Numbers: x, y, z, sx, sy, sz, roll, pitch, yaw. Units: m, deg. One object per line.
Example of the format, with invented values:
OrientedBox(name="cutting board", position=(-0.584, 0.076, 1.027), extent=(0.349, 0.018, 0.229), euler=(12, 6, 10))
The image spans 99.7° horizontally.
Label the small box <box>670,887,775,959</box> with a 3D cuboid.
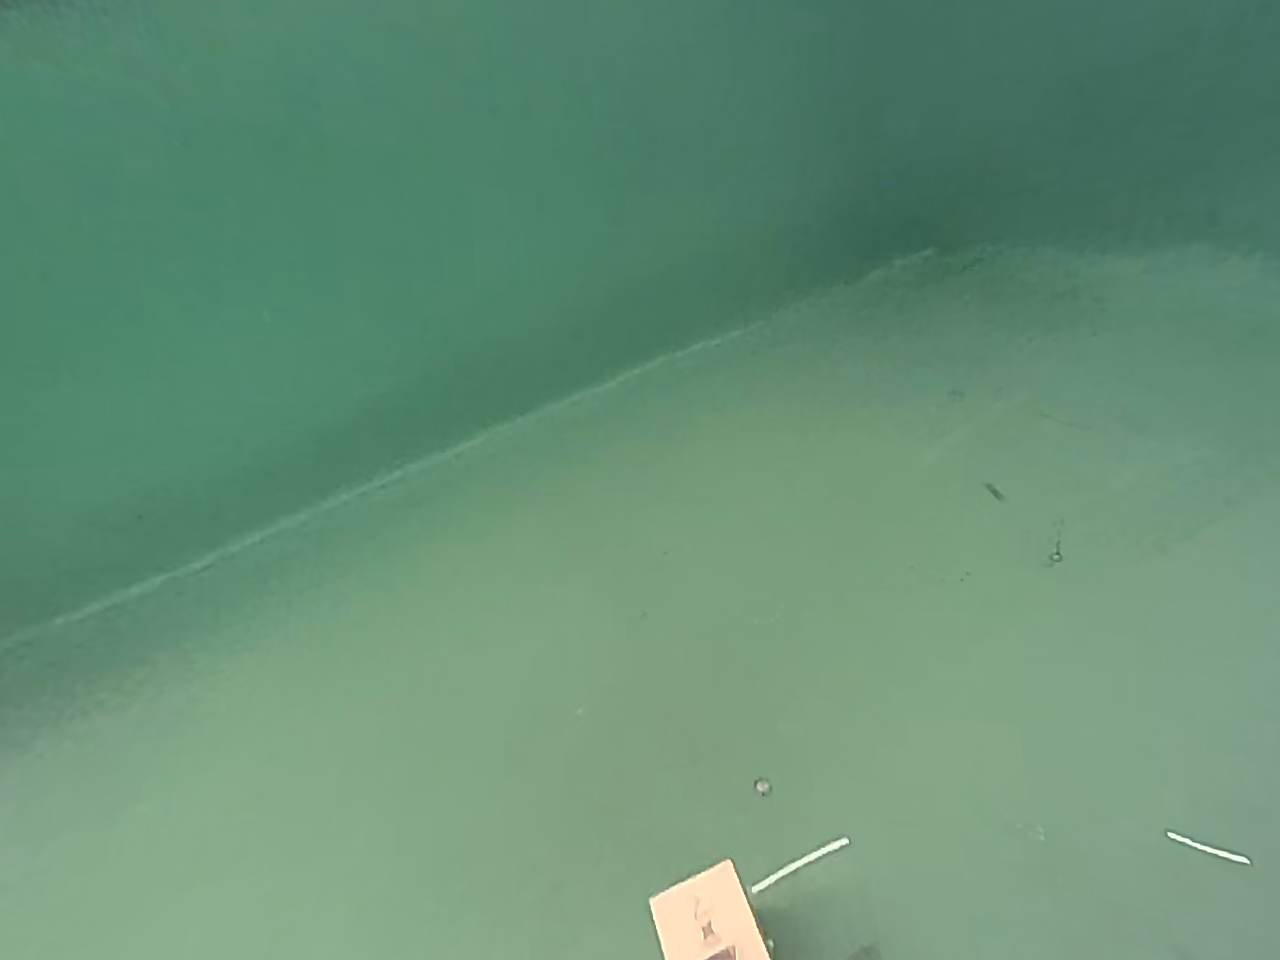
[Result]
OrientedBox(name="small box", position=(0.177, 0.952, 1.064), extent=(0.168, 0.176, 0.179), euler=(-21, 38, -3))
